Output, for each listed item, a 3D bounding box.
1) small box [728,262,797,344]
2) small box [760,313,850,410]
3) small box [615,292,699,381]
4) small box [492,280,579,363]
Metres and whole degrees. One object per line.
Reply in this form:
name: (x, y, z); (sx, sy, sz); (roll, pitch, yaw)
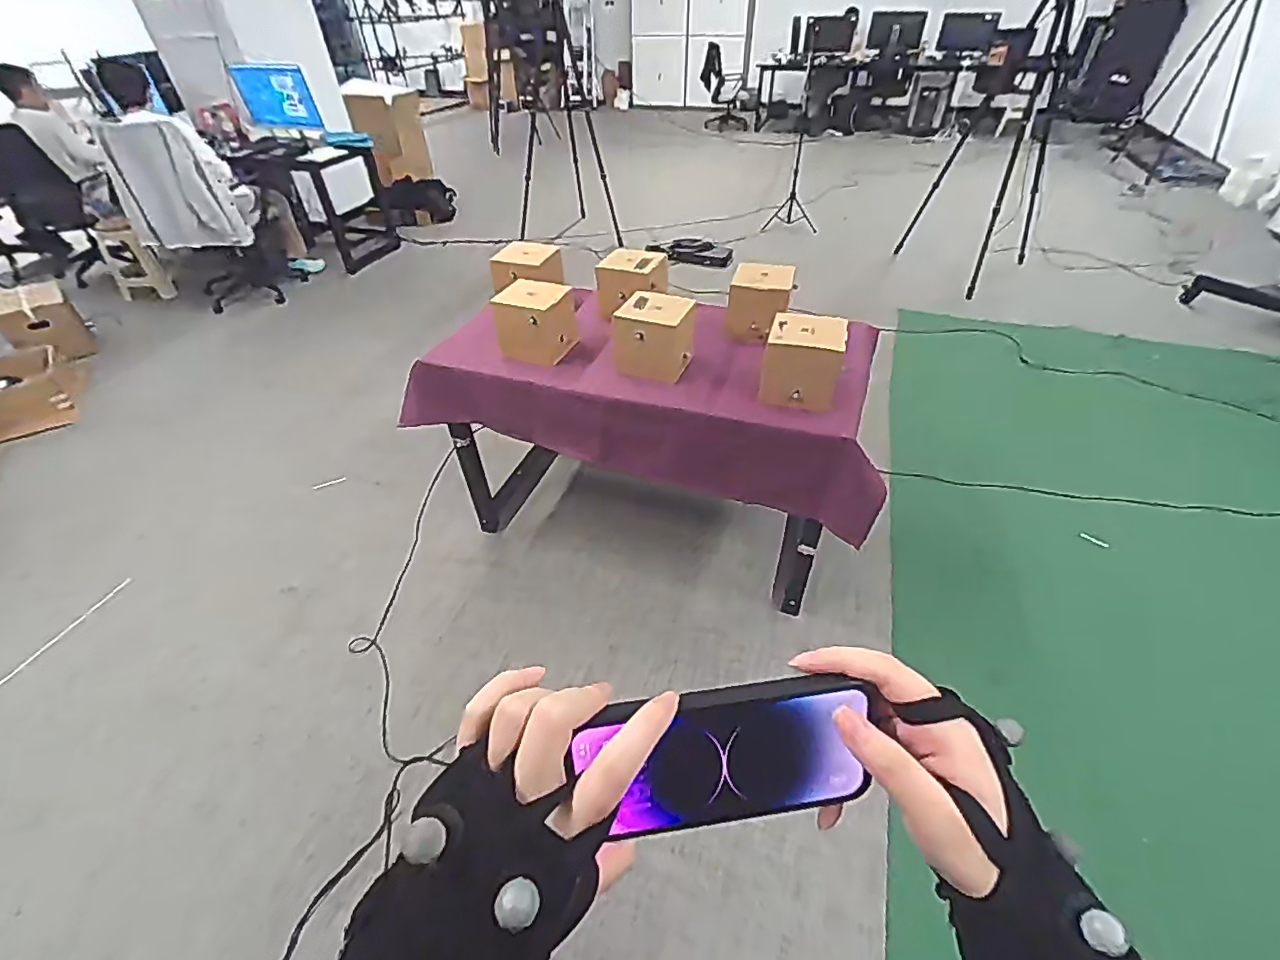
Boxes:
small box: (0.359, -0.520, 1.591); (0.168, 0.176, 0.179); (10, 44, 14)
small box: (0.406, -0.291, 1.336); (0.179, 0.176, 0.168); (12, 43, 15)
small box: (0.047, -0.386, 1.456); (0.179, 0.176, 0.168); (16, 45, 17)
small box: (-0.290, -0.450, 1.540); (0.179, 0.176, 0.168); (14, 44, 16)
